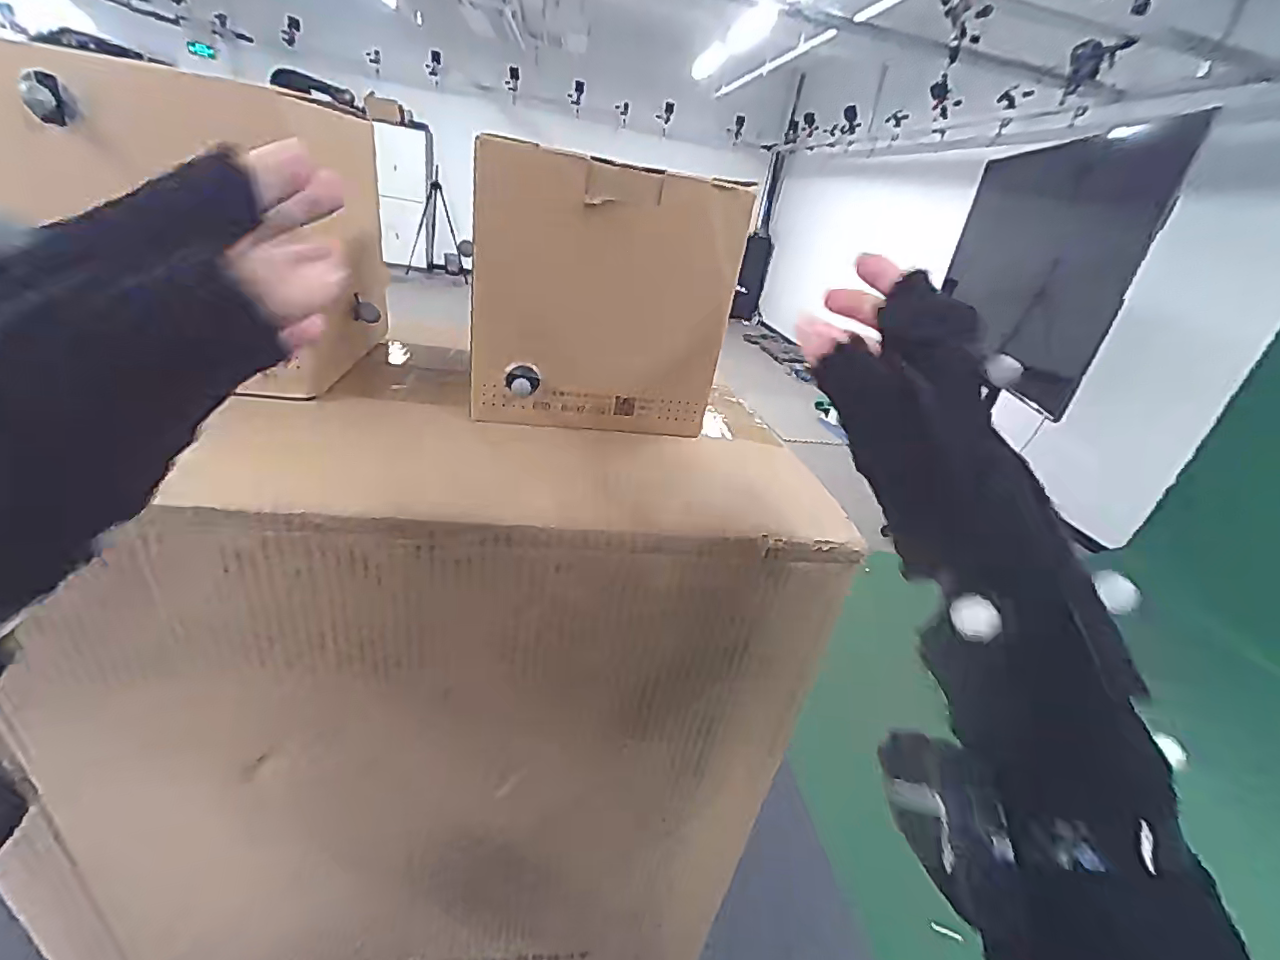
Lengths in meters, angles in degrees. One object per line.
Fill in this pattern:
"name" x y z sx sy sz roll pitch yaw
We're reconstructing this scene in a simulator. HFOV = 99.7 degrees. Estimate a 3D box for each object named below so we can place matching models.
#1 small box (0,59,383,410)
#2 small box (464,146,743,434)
"small box" -0.287 -0.159 0.369 0.168 0.176 0.179 2 28 -10
"small box" -0.041 -0.144 0.416 0.168 0.176 0.179 2 28 -14
